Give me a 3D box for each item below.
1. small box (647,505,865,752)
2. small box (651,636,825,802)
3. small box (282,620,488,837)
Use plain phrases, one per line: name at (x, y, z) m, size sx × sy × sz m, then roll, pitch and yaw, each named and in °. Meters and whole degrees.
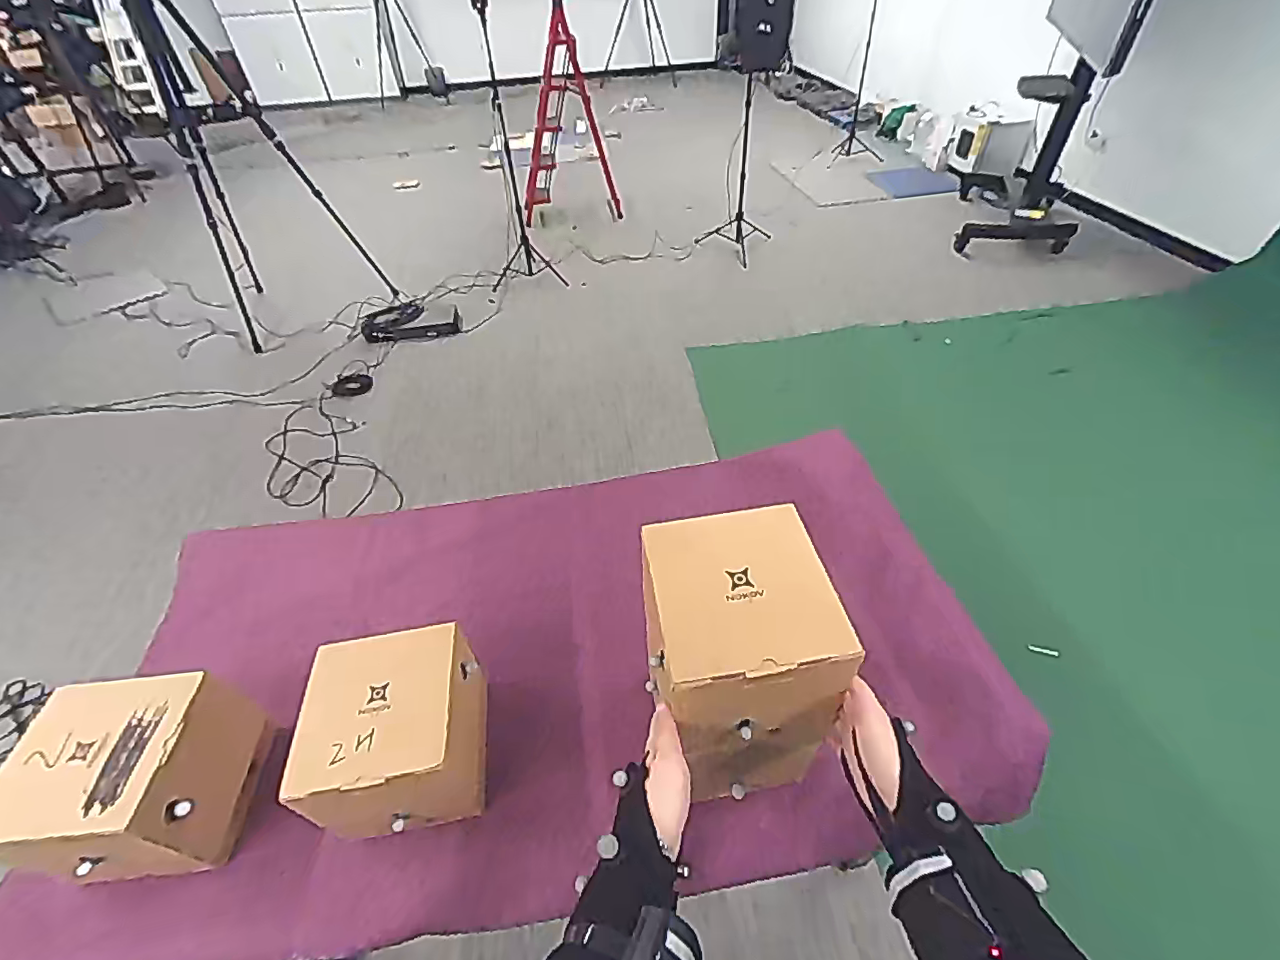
small box at (0.100, 0.153, 0.562) m, size 0.168 × 0.176 × 0.179 m, roll -8°, pitch 46°, yaw -5°
small box at (0.105, 0.271, 0.674) m, size 0.168 × 0.176 × 0.179 m, roll -8°, pitch 46°, yaw -4°
small box at (-0.289, 0.302, 0.661) m, size 0.168 × 0.176 × 0.179 m, roll -9°, pitch 45°, yaw -5°
